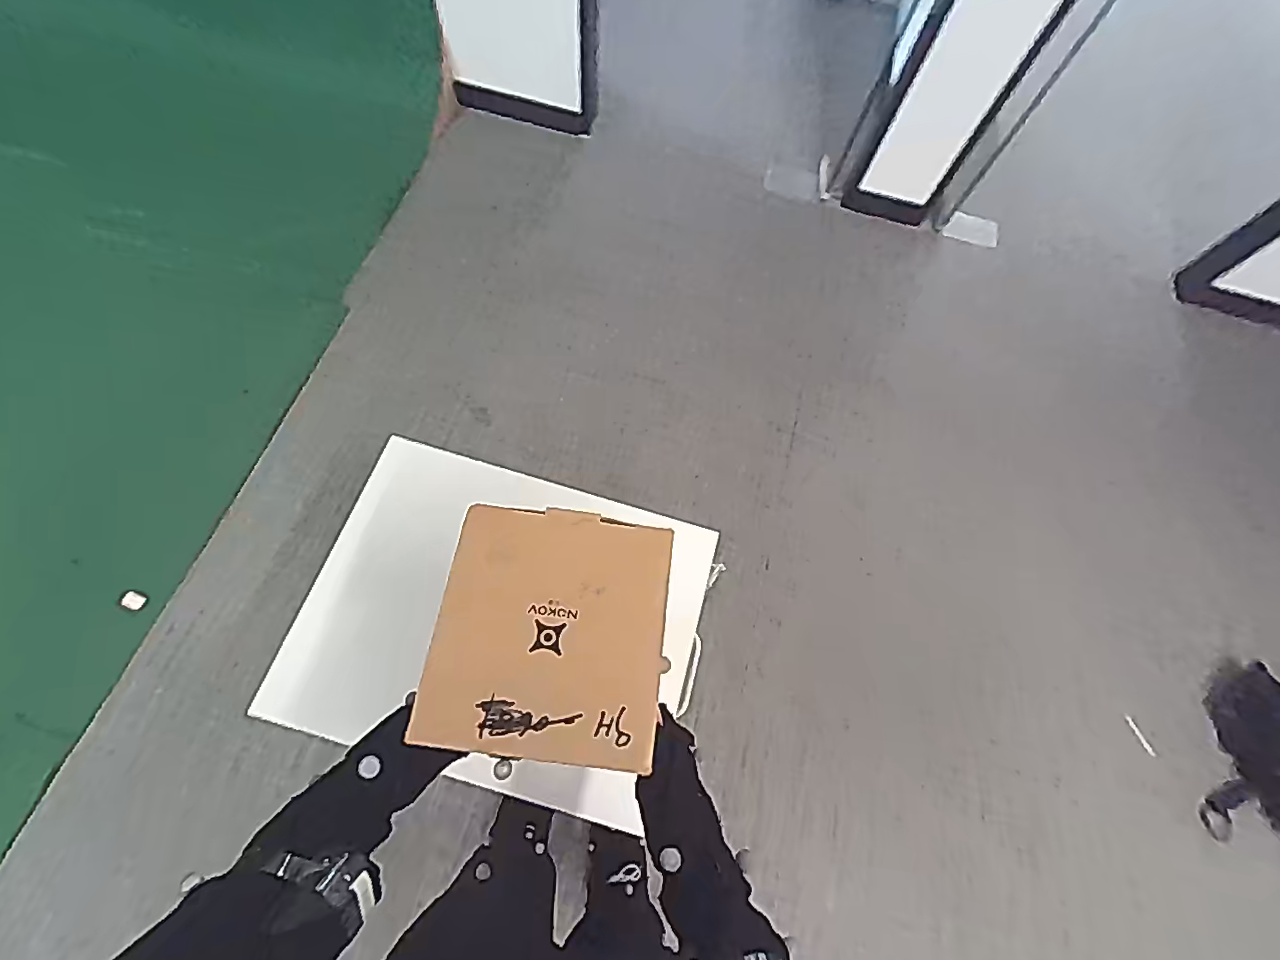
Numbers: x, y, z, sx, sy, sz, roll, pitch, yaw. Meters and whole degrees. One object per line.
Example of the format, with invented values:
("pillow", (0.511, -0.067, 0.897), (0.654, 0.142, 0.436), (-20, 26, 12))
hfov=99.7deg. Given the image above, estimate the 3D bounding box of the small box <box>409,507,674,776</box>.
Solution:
("small box", (-0.068, 0.143, 0.464), (0.168, 0.176, 0.179), (7, 64, 0))
